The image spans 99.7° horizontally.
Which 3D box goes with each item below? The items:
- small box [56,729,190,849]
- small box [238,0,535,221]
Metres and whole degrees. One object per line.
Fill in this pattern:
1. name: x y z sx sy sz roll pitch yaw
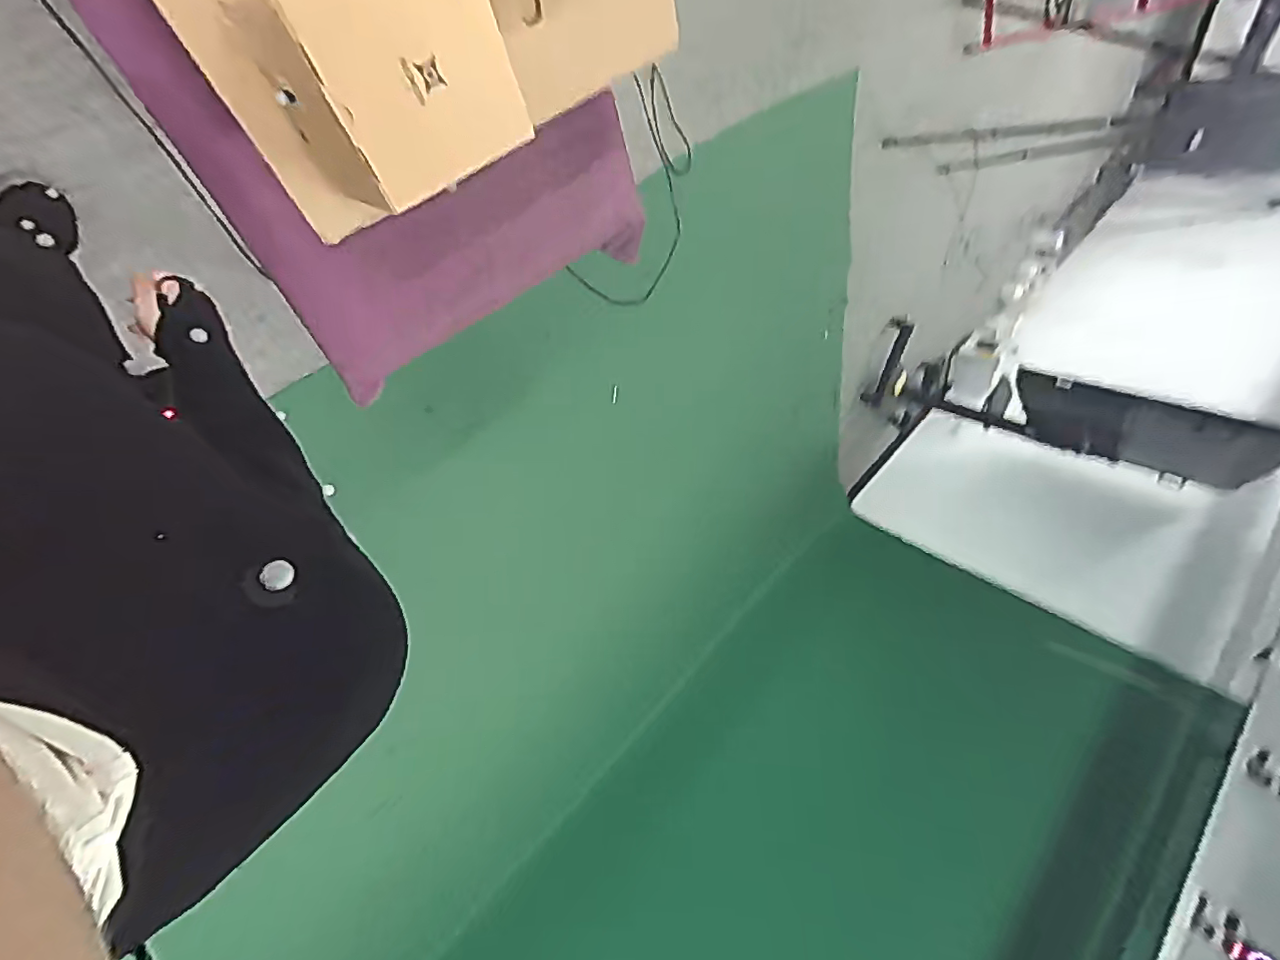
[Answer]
1. small box: -1.260 0.749 1.324 0.168 0.176 0.179 -40 138 -23
2. small box: -0.241 -0.387 0.529 0.179 0.176 0.168 -42 142 -18
